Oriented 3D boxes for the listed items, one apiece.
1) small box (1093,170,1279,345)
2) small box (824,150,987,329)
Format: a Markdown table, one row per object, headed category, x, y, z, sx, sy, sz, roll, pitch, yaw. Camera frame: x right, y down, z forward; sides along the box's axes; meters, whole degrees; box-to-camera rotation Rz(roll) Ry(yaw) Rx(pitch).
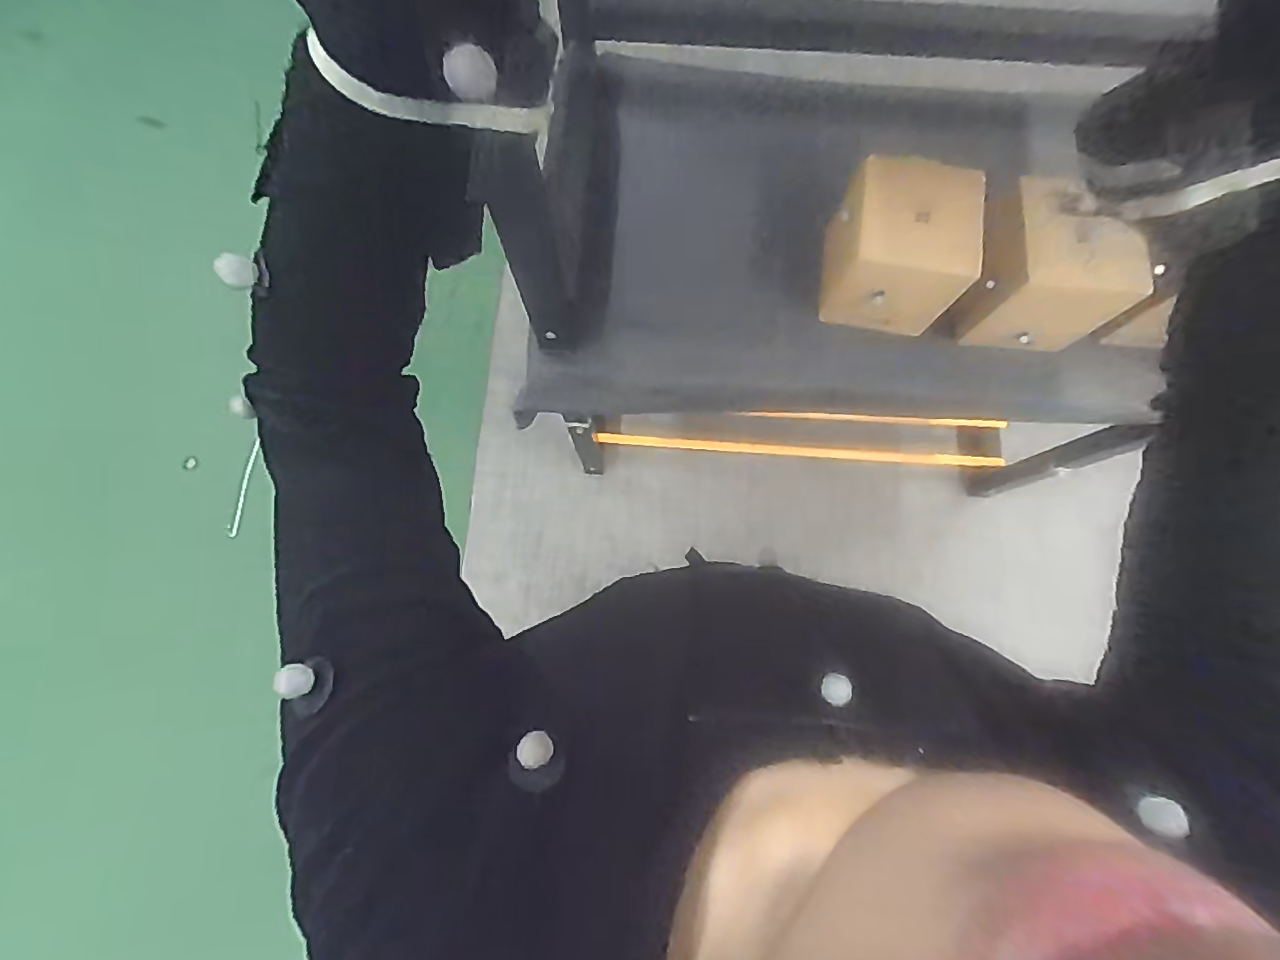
| category | x | y | z | sx | sy | sz | roll | pitch | yaw |
| --- | --- | --- | --- | --- | --- | --- | --- | --- | --- |
| small box | 0.830 | -0.321 | 0.809 | 0.168 | 0.176 | 0.179 | 7 | 76 | 1 |
| small box | 0.389 | -0.352 | 0.818 | 0.168 | 0.176 | 0.179 | 10 | 76 | 2 |
